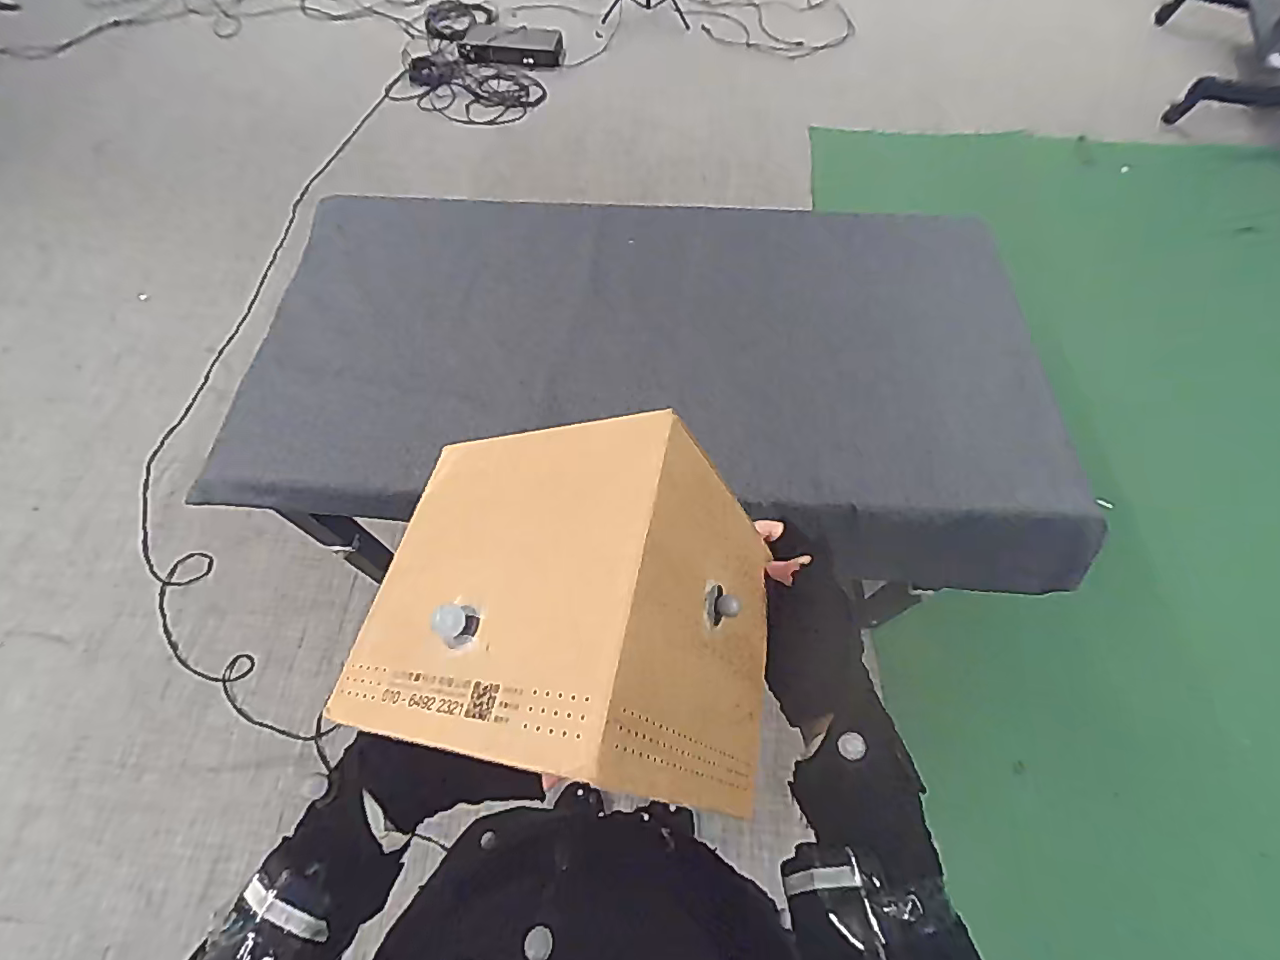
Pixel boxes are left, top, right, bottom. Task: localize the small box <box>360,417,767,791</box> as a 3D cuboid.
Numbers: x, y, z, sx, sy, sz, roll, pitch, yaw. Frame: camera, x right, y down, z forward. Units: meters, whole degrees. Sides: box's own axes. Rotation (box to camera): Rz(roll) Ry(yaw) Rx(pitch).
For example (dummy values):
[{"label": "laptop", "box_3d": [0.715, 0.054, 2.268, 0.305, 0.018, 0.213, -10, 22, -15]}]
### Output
[{"label": "small box", "box_3d": [-0.031, 0.086, 0.344, 0.168, 0.179, 0.176, -5, 57, 30]}]
